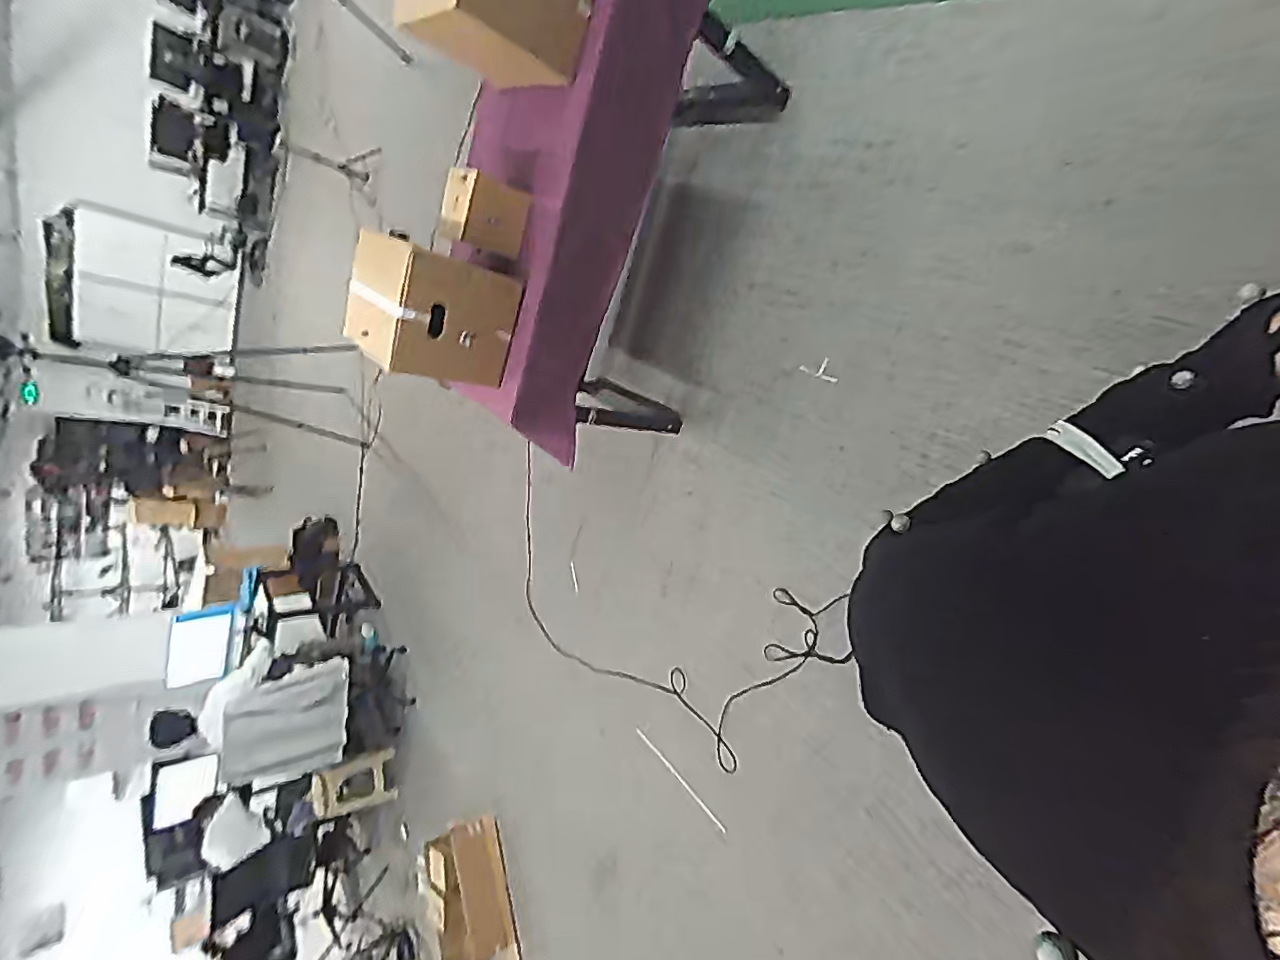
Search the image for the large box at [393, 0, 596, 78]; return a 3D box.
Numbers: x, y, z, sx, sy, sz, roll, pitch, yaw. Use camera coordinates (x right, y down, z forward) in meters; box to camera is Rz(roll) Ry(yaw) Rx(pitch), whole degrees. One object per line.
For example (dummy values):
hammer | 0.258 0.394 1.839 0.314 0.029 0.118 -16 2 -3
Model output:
large box | -0.339 -1.226 1.304 0.408 0.320 0.320 35 112 38
